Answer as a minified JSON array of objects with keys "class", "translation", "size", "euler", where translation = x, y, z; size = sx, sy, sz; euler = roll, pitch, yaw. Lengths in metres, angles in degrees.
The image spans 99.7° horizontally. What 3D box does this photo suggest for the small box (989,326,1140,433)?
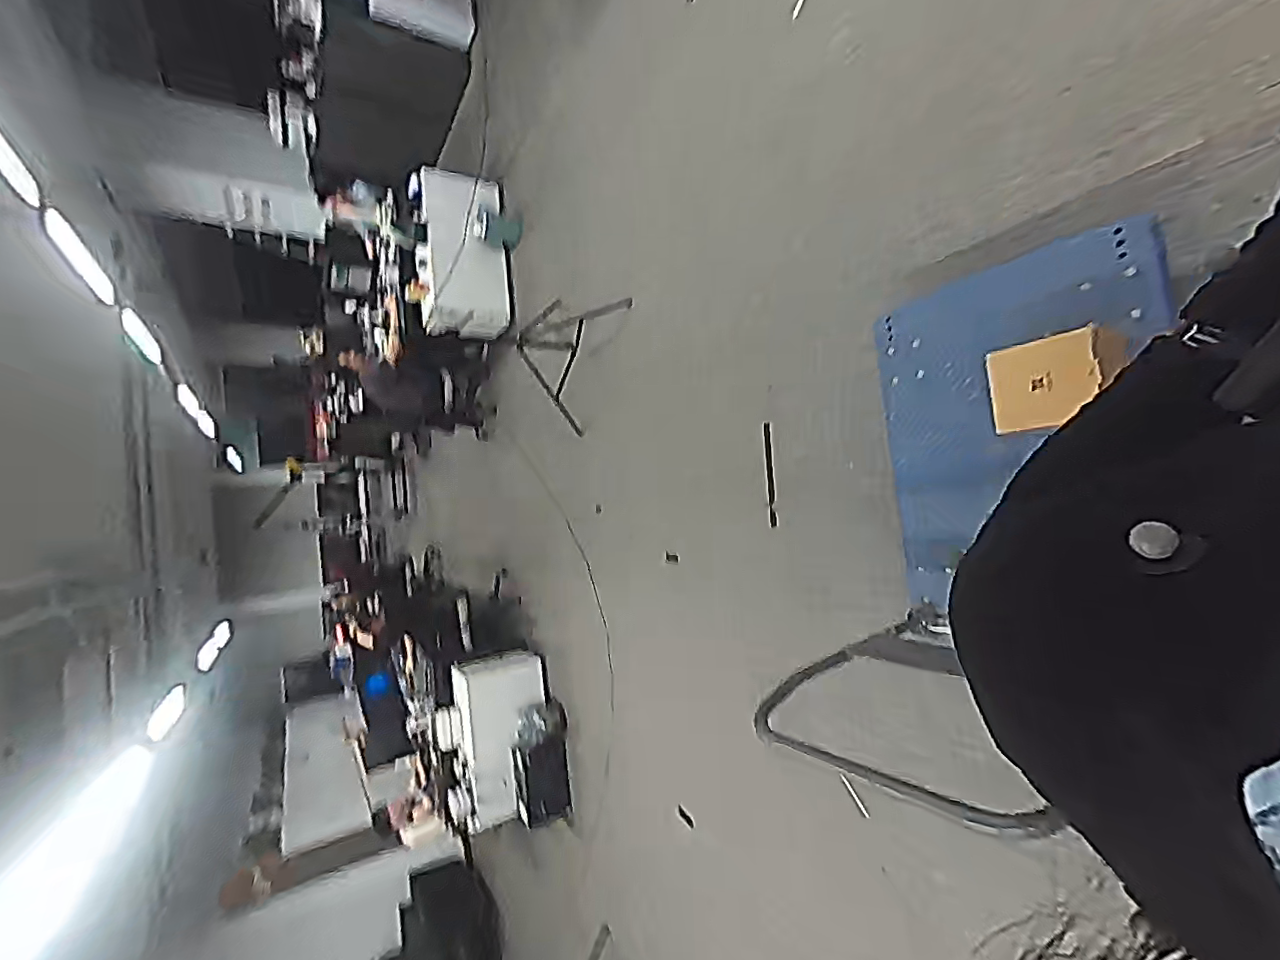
[{"class":"small box","translation":[0.824,-0.185,1.055],"size":[0.179,0.176,0.168],"euler":[-12,84,57]}]
